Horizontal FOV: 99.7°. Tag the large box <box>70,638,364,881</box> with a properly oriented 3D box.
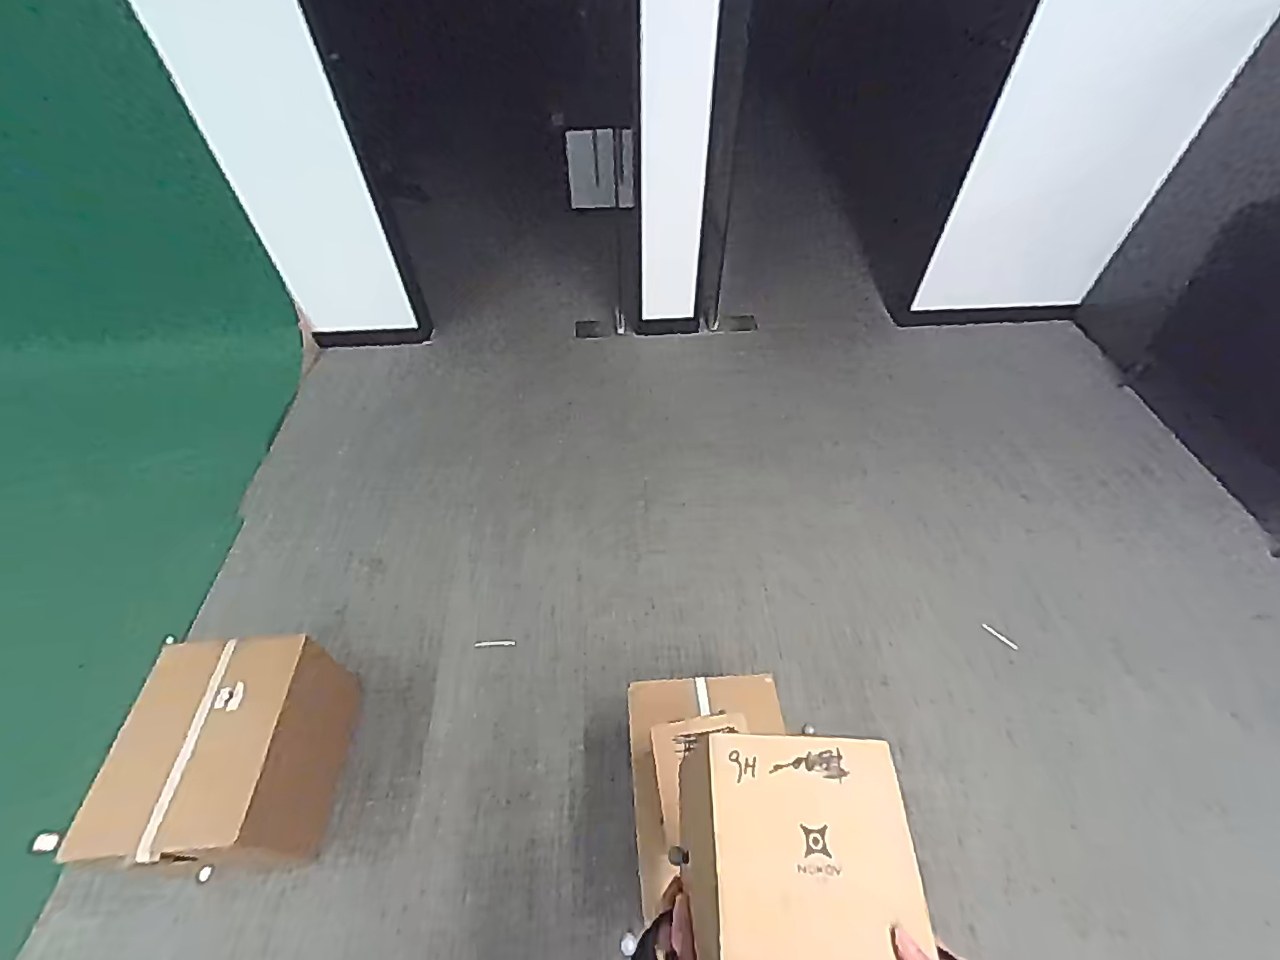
[{"bbox_3d":[-0.872,0.615,1.199,0.320,0.320,0.408,-4,49,-2],"label":"large box"}]

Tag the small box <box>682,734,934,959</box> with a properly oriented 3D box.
[{"bbox_3d":[0.133,0.347,0.501,0.168,0.176,0.179,4,54,-4],"label":"small box"}]
